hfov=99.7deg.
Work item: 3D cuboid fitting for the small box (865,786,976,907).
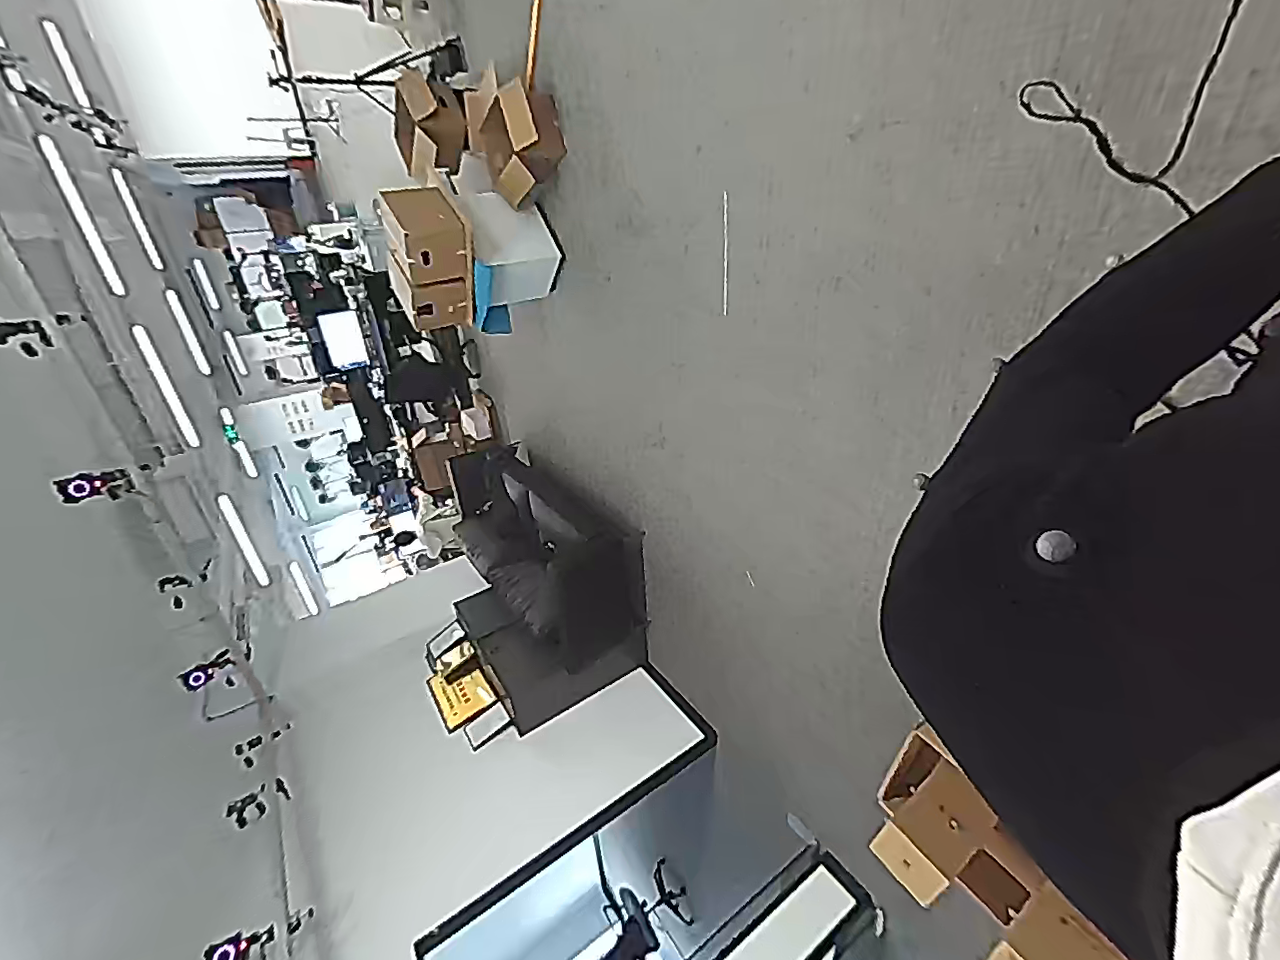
[{"bbox_3d":[0.721,0.936,1.390,0.168,0.176,0.179,41,141,39],"label":"small box"}]

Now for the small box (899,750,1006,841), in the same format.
[{"bbox_3d":[0.850,0.883,1.474,0.168,0.176,0.179,42,141,39],"label":"small box"}]

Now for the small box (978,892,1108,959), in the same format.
[{"bbox_3d":[0.889,1.076,1.198,0.168,0.176,0.179,36,137,44],"label":"small box"}]
